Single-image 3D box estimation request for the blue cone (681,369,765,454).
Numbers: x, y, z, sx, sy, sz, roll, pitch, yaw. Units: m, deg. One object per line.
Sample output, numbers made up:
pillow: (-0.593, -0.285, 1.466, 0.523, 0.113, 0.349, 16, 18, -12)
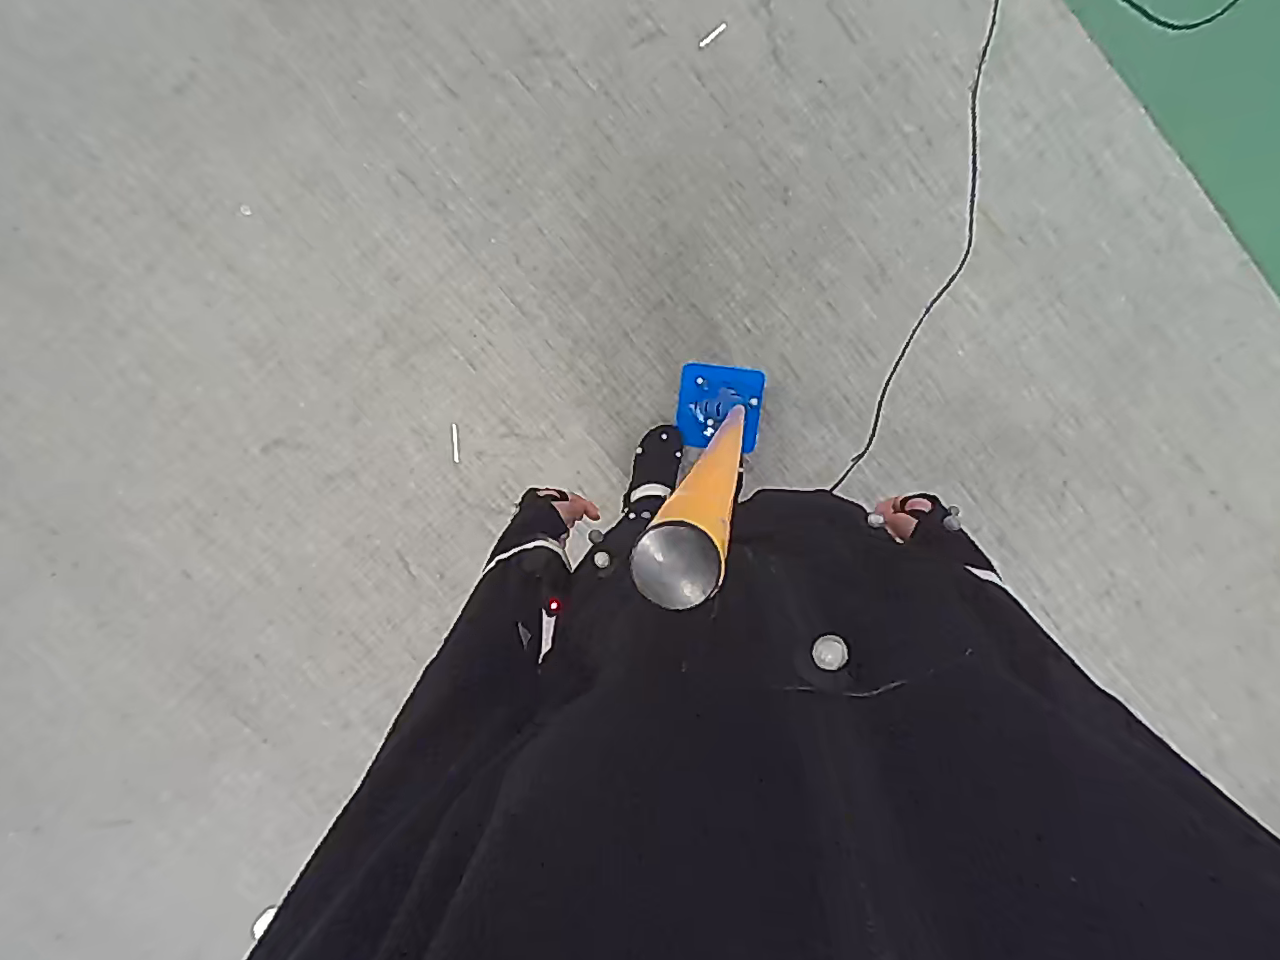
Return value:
blue cone: (0.184, -0.136, 1.105, 0.193, 0.380, 0.192, 6, 99, 3)
